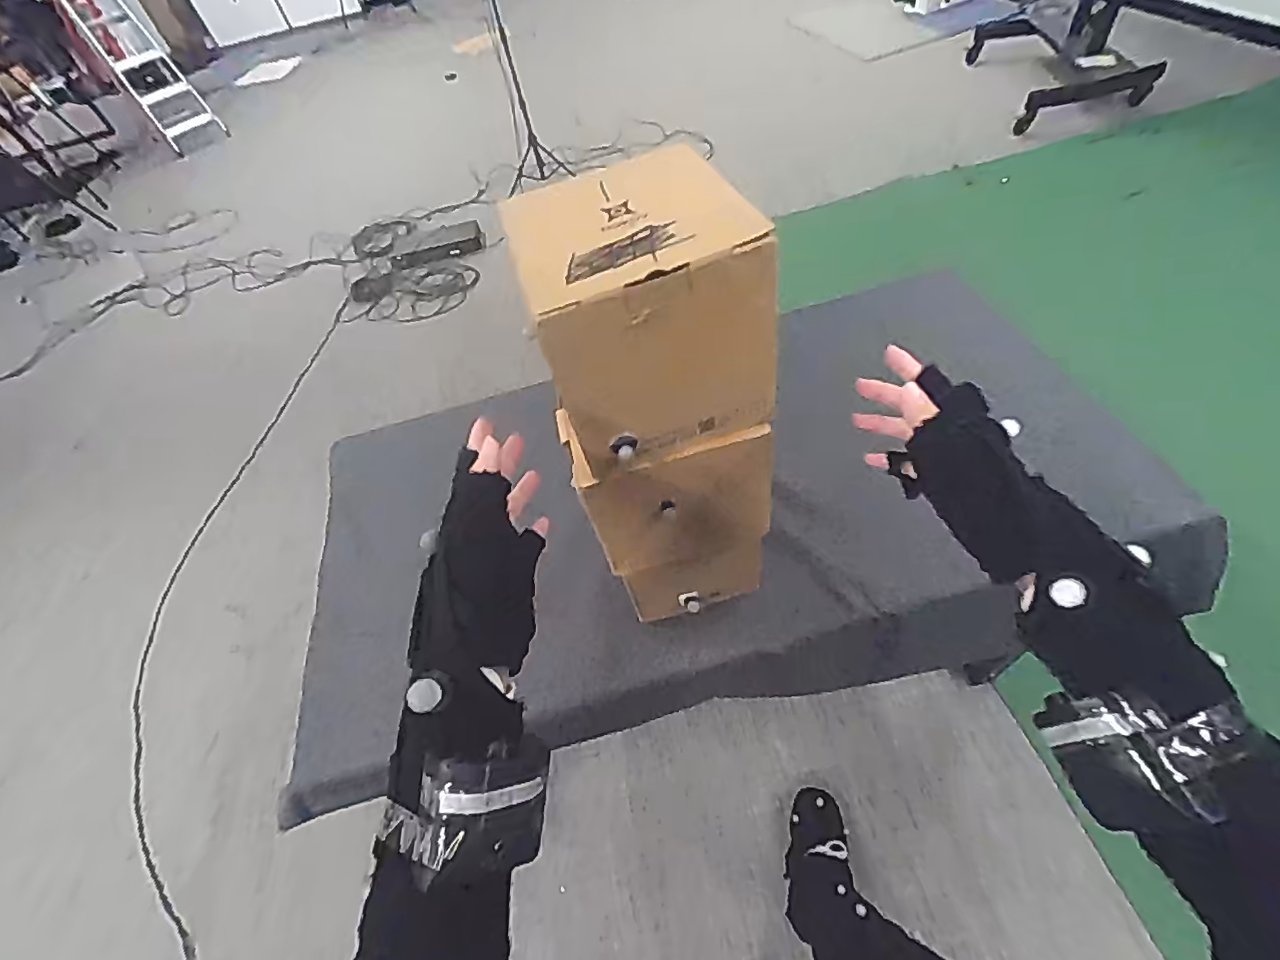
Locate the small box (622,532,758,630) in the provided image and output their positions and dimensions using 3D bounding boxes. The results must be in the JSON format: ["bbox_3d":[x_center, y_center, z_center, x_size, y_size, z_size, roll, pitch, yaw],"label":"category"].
[{"bbox_3d":[0.046,0.069,0.715,0.168,0.176,0.179,-18,52,-1],"label":"small box"}]

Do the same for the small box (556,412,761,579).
[{"bbox_3d":[0.021,-0.018,0.581,0.179,0.176,0.168,-17,48,-2],"label":"small box"}]

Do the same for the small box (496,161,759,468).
[{"bbox_3d":[-0.006,-0.131,0.459,0.168,0.176,0.179,-19,49,-3],"label":"small box"}]
